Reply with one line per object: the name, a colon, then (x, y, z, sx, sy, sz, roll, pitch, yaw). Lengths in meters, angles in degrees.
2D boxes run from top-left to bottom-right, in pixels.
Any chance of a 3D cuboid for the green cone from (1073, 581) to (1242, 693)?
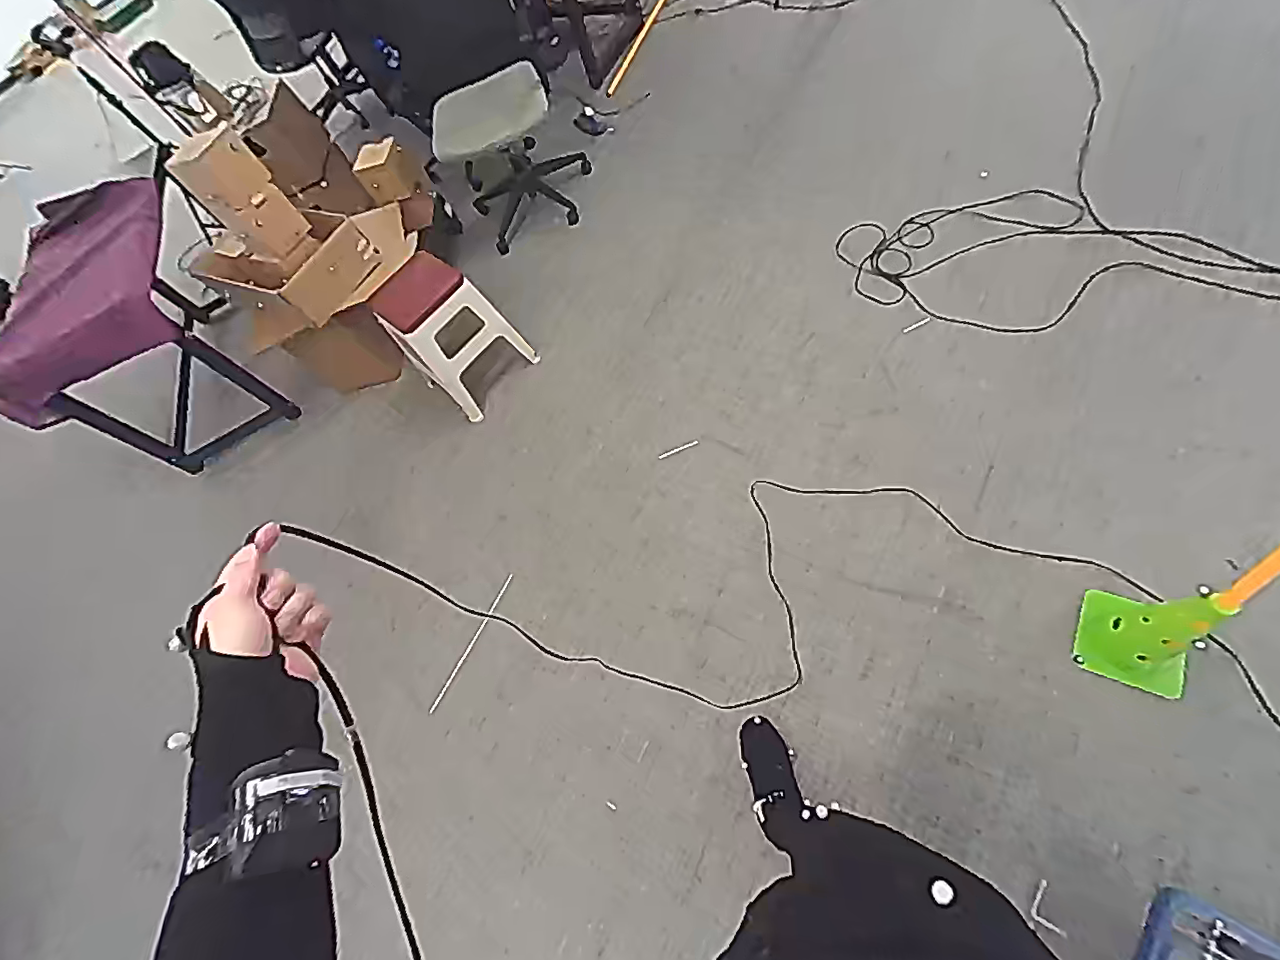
green cone: (1.081, 0.282, 1.096, 0.200, 0.368, 0.202, 18, 70, 25)
